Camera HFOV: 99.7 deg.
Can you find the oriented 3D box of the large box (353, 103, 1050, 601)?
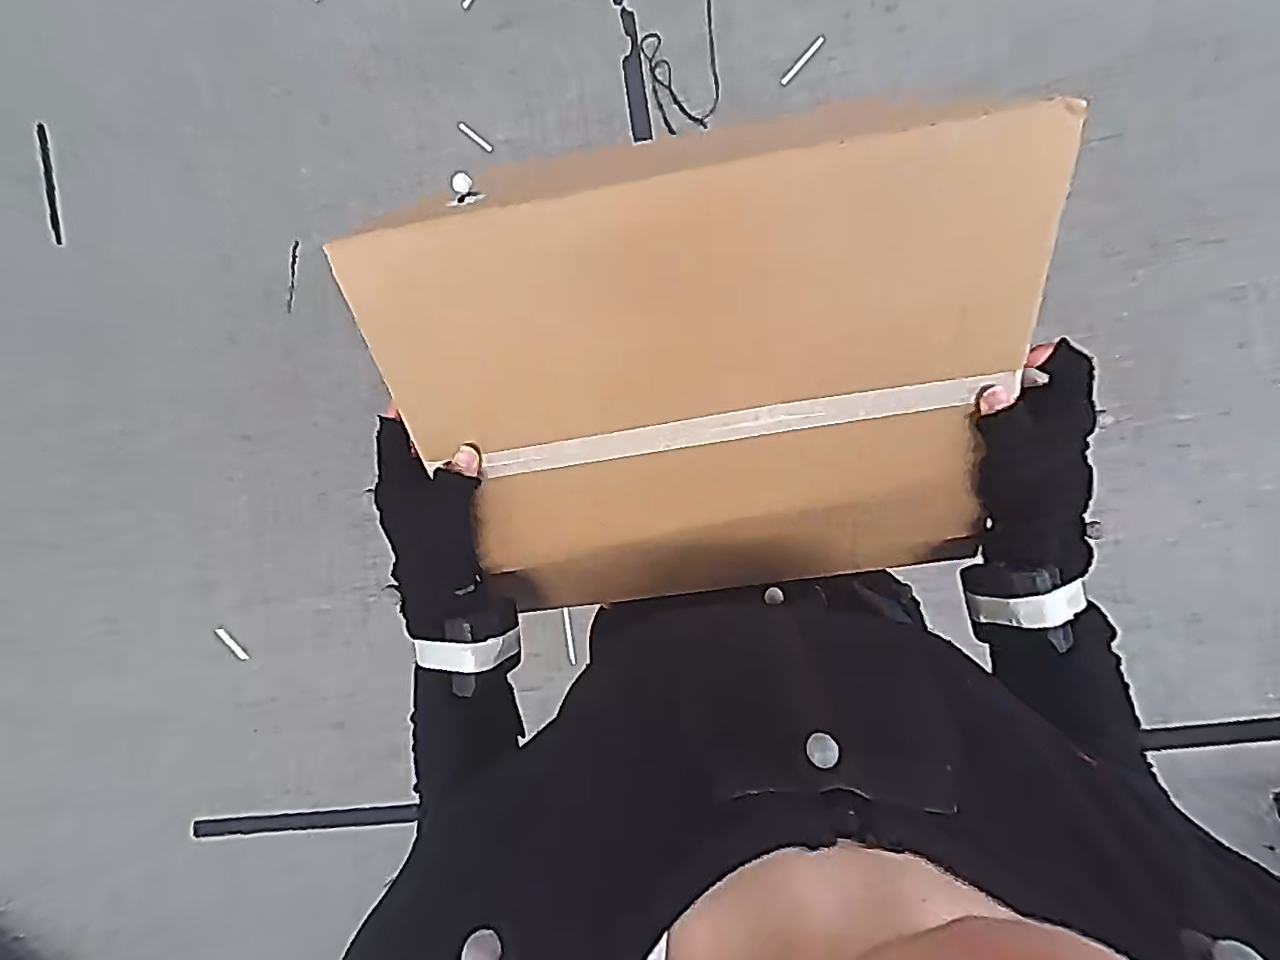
[{"bbox_3d":[0.045,-0.127,0.507,0.408,0.320,0.320,-8,125,5],"label":"large box"}]
